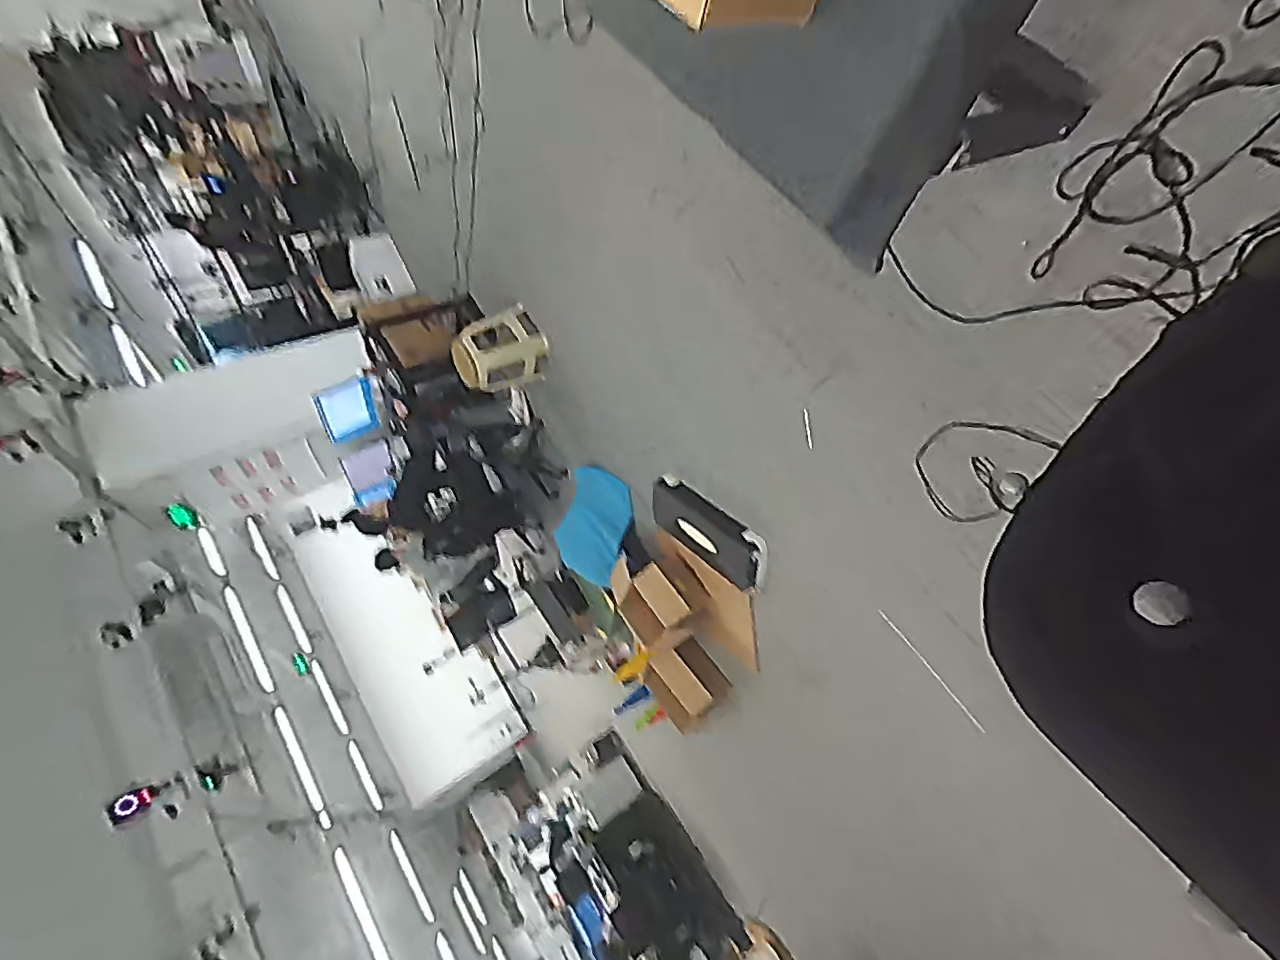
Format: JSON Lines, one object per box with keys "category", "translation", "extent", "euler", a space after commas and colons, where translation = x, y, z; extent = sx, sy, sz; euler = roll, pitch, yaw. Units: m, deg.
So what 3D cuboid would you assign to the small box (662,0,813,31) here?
{"category": "small box", "translation": [0.099, -0.583, 0.531], "extent": [0.168, 0.176, 0.179], "euler": [53, 150, 19]}
